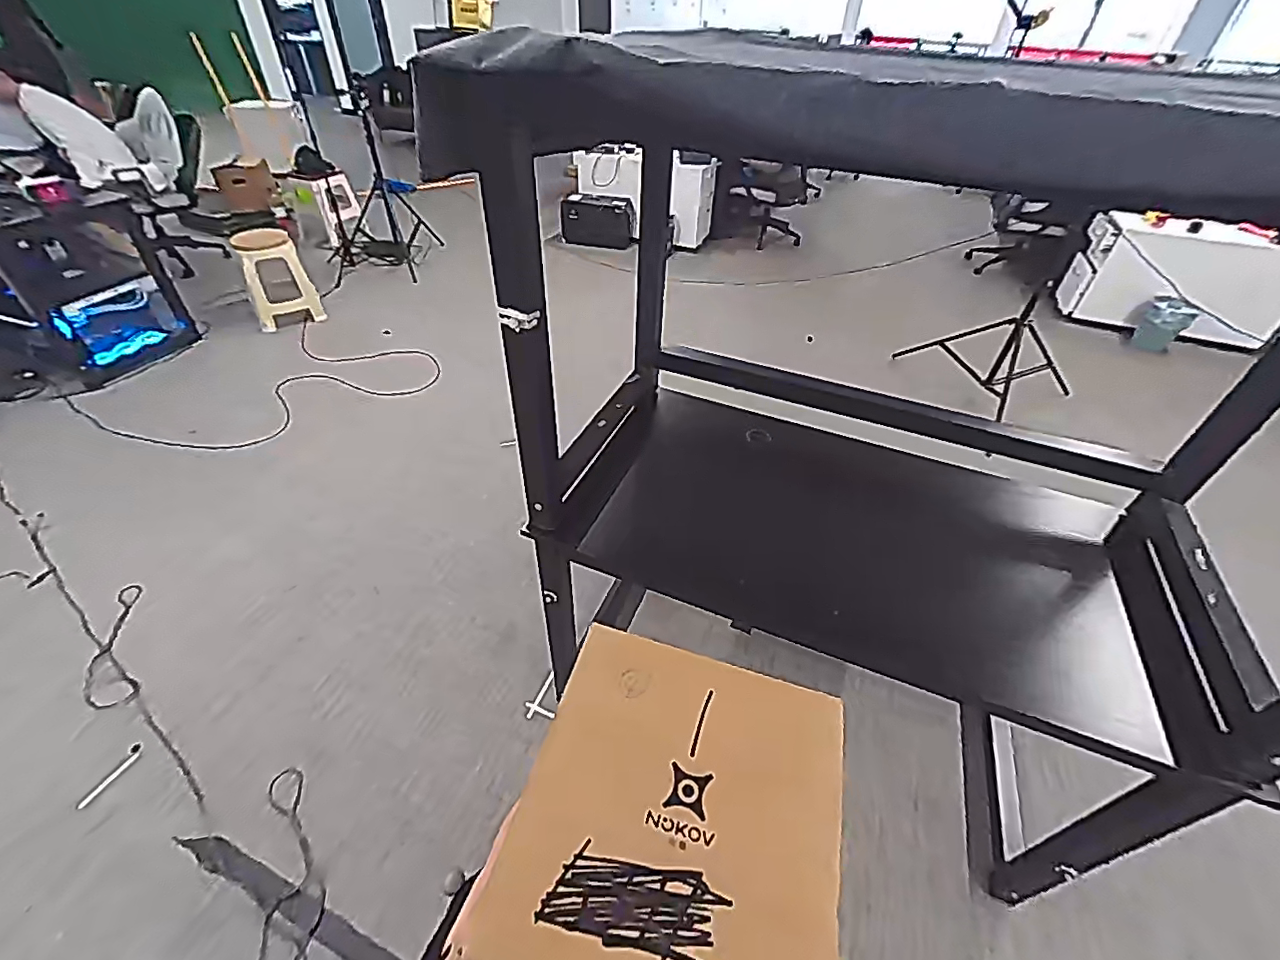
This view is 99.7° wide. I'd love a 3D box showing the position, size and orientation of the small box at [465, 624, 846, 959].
[{"bbox_3d":[0.018,0.228,0.340,0.168,0.176,0.179,15,45,9],"label":"small box"}]
